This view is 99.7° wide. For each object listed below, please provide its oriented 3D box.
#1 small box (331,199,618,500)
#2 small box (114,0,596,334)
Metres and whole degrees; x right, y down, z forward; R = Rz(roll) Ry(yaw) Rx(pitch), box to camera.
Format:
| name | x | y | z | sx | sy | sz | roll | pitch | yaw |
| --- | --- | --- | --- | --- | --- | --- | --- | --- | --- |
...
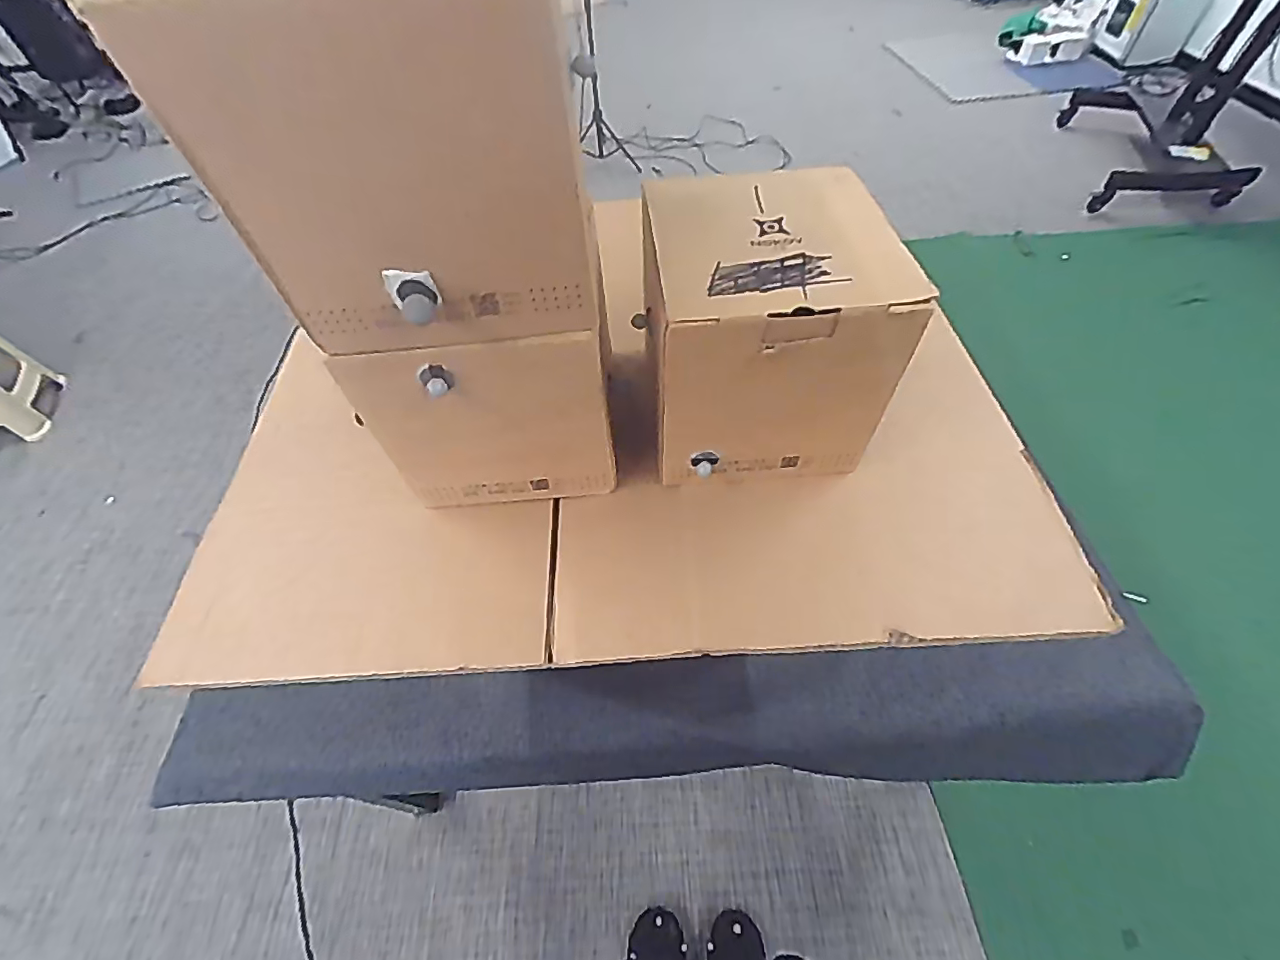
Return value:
| name | x | y | z | sx | sy | sz | roll | pitch | yaw |
| --- | --- | --- | --- | --- | --- | --- | --- | --- | --- |
| small box | -0.109 | -0.104 | 0.446 | 0.168 | 0.176 | 0.179 | -5 | 54 | 2 |
| small box | -0.119 | -0.209 | 0.302 | 0.168 | 0.176 | 0.179 | -8 | 56 | -1 |
